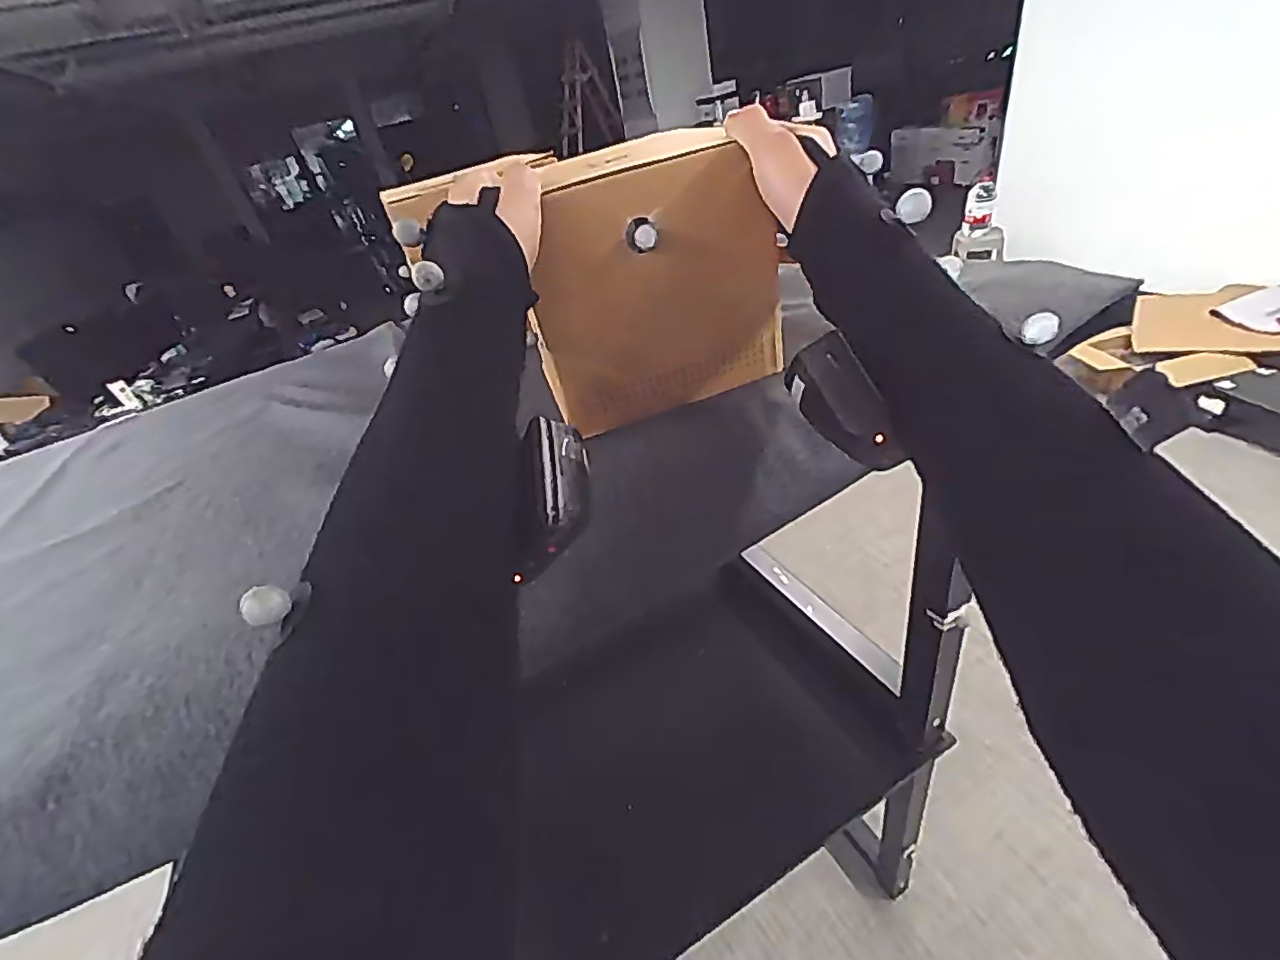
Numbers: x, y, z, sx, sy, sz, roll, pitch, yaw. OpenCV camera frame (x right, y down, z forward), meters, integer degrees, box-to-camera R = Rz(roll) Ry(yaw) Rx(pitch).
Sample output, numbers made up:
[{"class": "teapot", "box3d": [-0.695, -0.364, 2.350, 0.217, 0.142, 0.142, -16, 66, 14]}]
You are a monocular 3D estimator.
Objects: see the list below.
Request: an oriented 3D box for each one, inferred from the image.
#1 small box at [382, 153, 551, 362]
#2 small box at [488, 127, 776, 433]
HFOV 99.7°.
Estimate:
[{"class": "small box", "box3d": [-0.169, -0.250, 0.608, 0.168, 0.176, 0.179, -24, 35, -13]}, {"class": "small box", "box3d": [-0.005, -0.164, 0.432, 0.179, 0.176, 0.168, -20, 35, -6]}]
